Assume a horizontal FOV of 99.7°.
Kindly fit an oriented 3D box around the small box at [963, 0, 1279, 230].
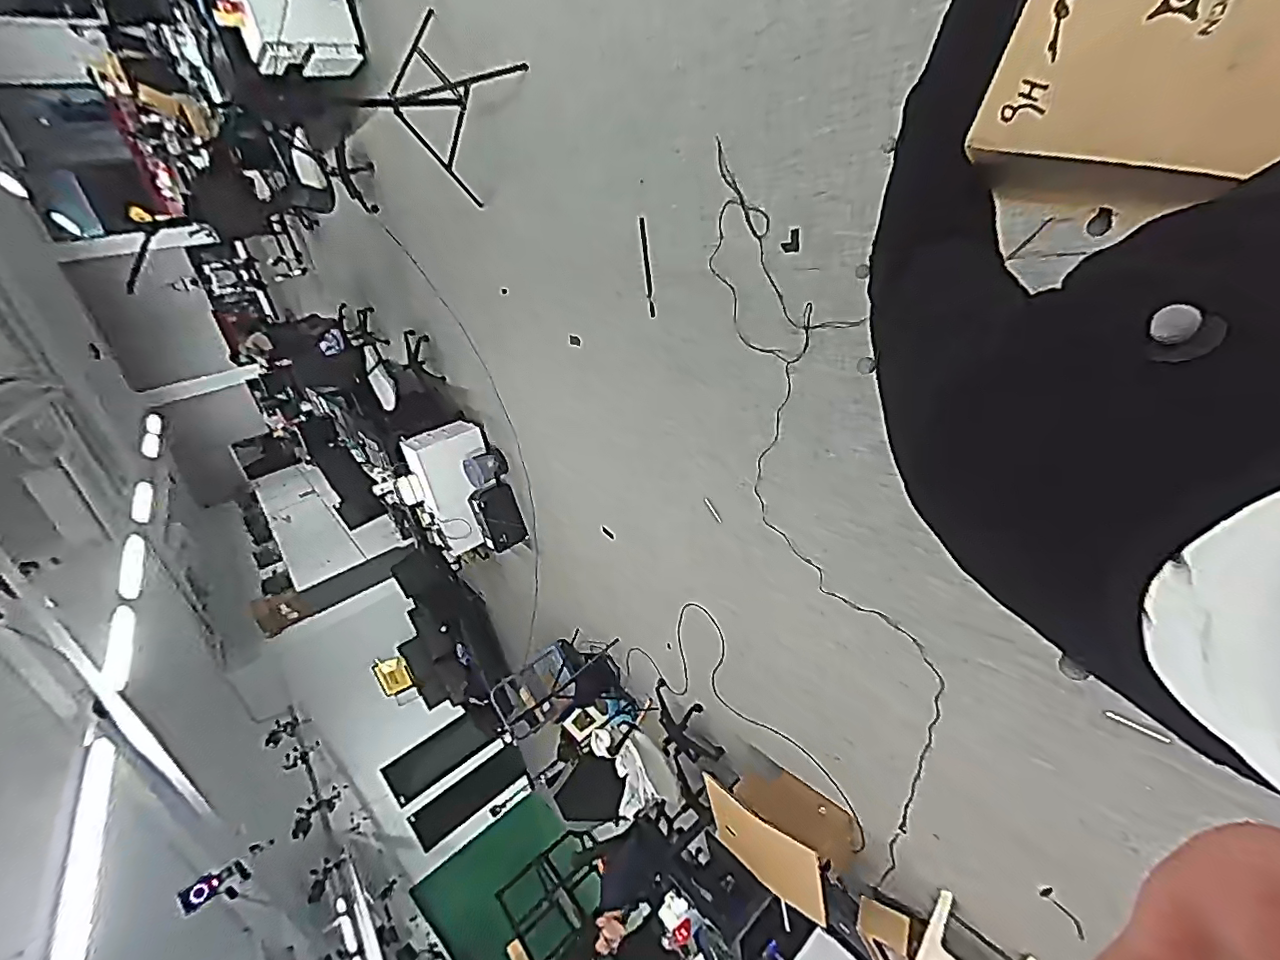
[{"bbox_3d":[0.358,-0.280,0.362,0.179,0.176,0.168,31,117,30],"label":"small box"}]
